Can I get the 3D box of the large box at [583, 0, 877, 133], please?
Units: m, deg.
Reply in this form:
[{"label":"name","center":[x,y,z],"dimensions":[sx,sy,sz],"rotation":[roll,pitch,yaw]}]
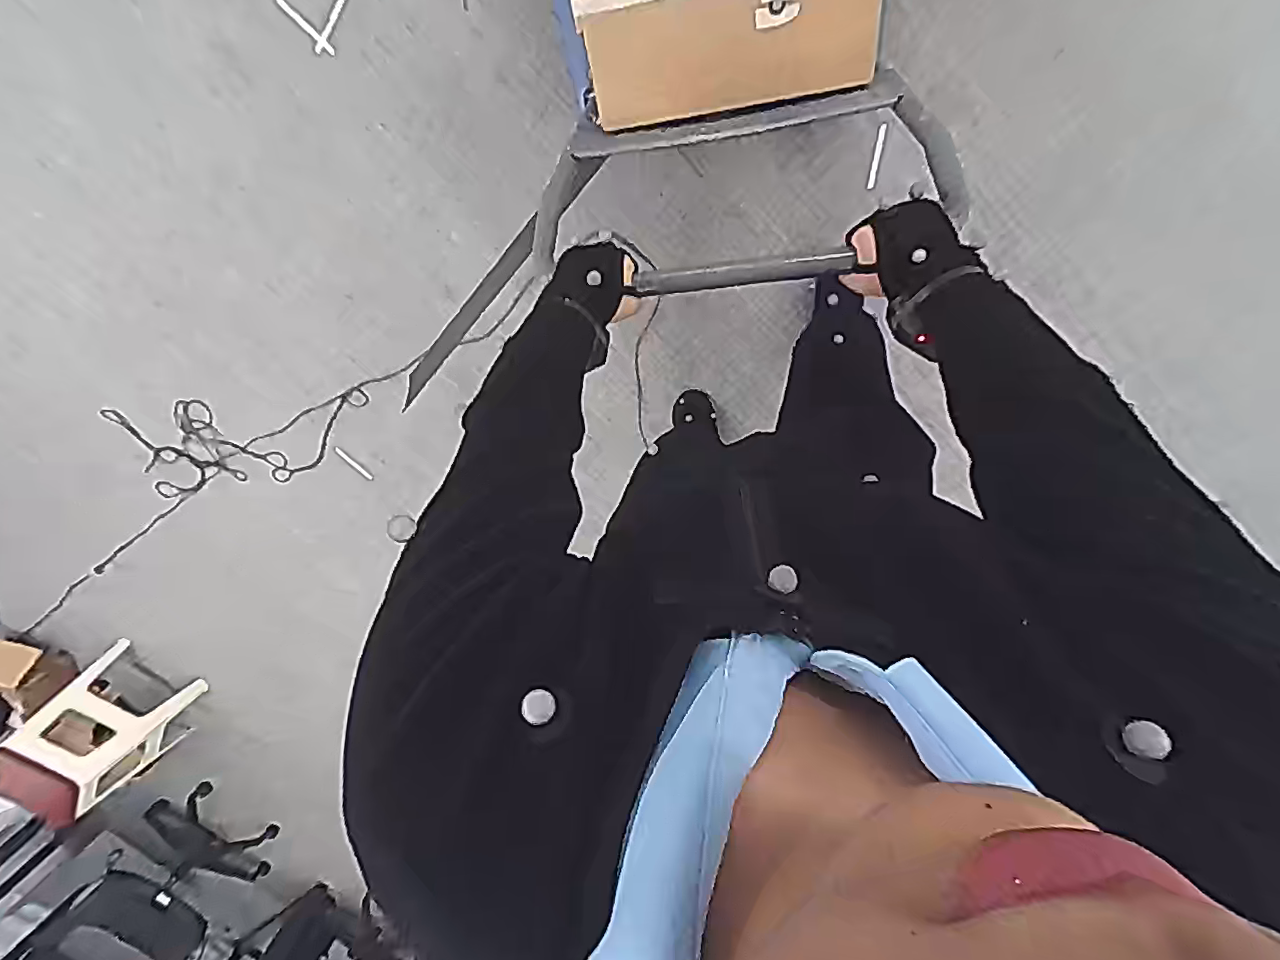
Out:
[{"label":"large box","center":[0.124,-0.784,0.830],"dimensions":[0.408,0.320,0.320],"rotation":[-5,135,11]}]
